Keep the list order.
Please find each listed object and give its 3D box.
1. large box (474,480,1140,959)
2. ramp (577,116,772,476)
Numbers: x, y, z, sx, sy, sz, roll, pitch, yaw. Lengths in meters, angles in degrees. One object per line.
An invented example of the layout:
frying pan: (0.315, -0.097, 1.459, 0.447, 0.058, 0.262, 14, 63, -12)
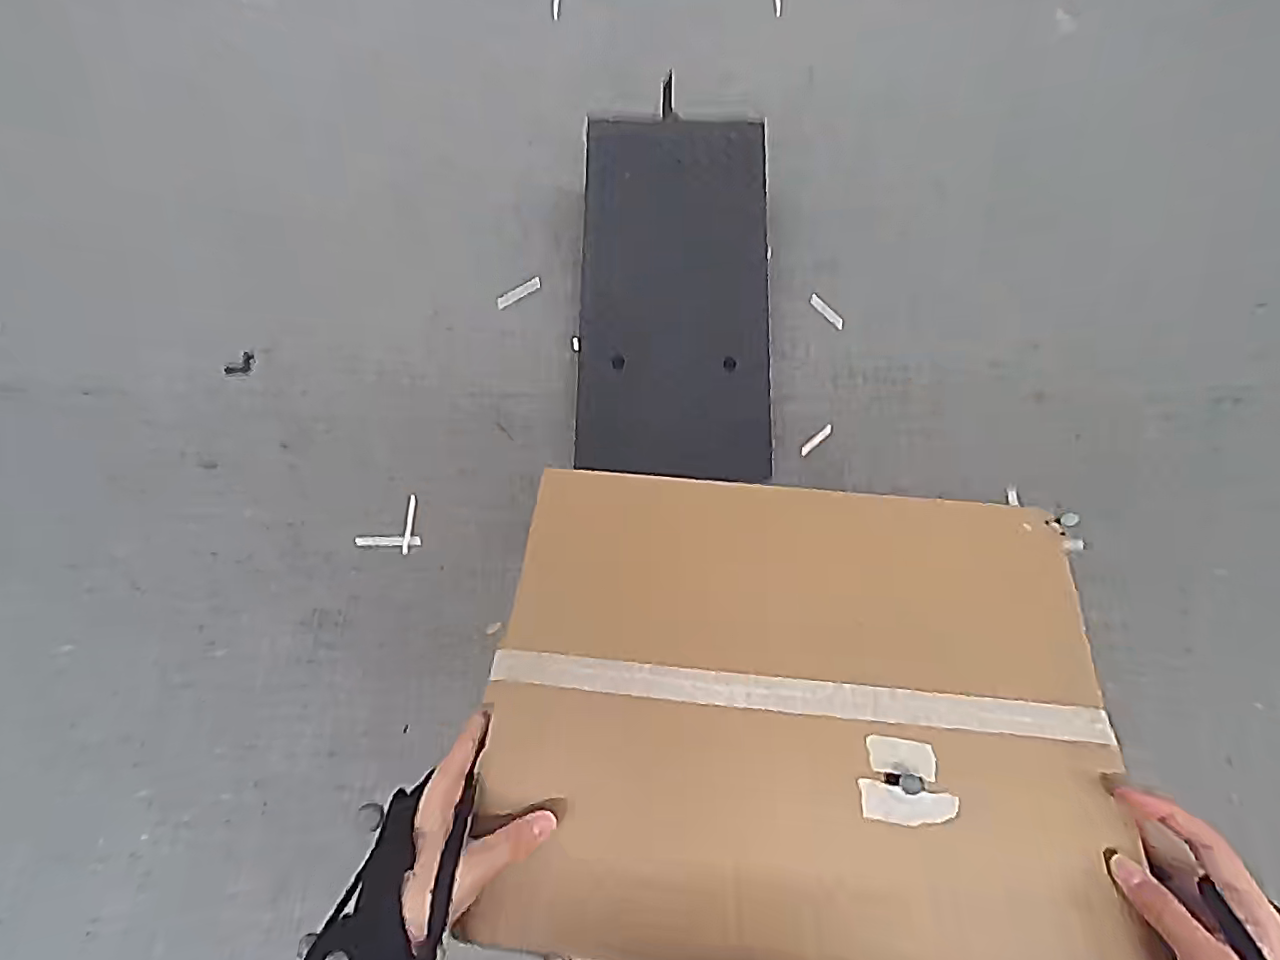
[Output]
large box: (0.109, 0.217, 0.518, 0.408, 0.320, 0.320, 5, 64, 4)
ramp: (0.095, -0.505, 1.416, 0.509, 0.206, 0.991, 0, 71, -1)
